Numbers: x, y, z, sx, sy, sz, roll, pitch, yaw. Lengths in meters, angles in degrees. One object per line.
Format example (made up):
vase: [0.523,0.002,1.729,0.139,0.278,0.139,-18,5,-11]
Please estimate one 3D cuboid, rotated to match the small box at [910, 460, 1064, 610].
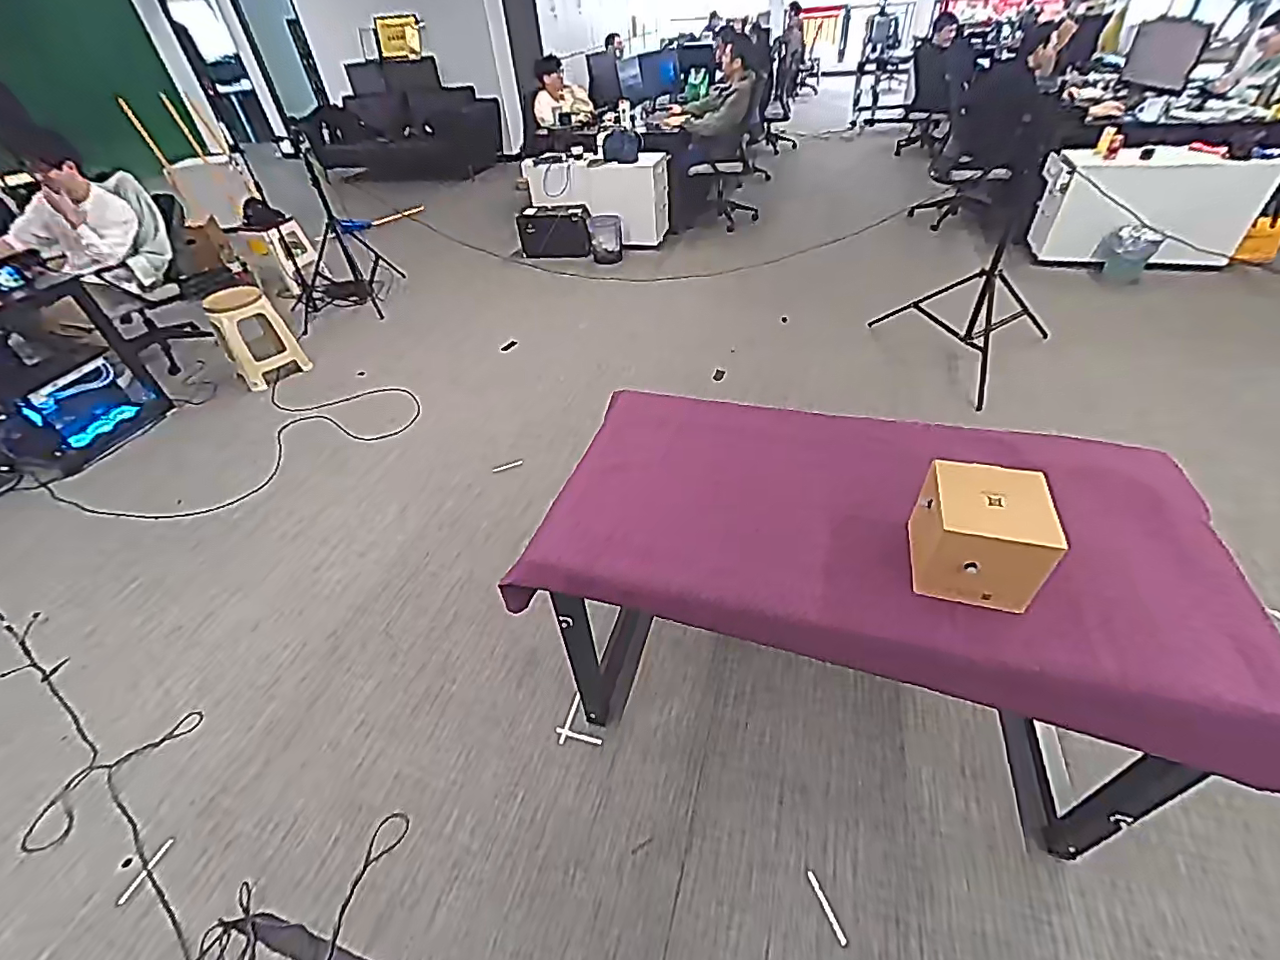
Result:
small box: [0.566,0.092,0.910,0.168,0.176,0.179,9,43,16]
